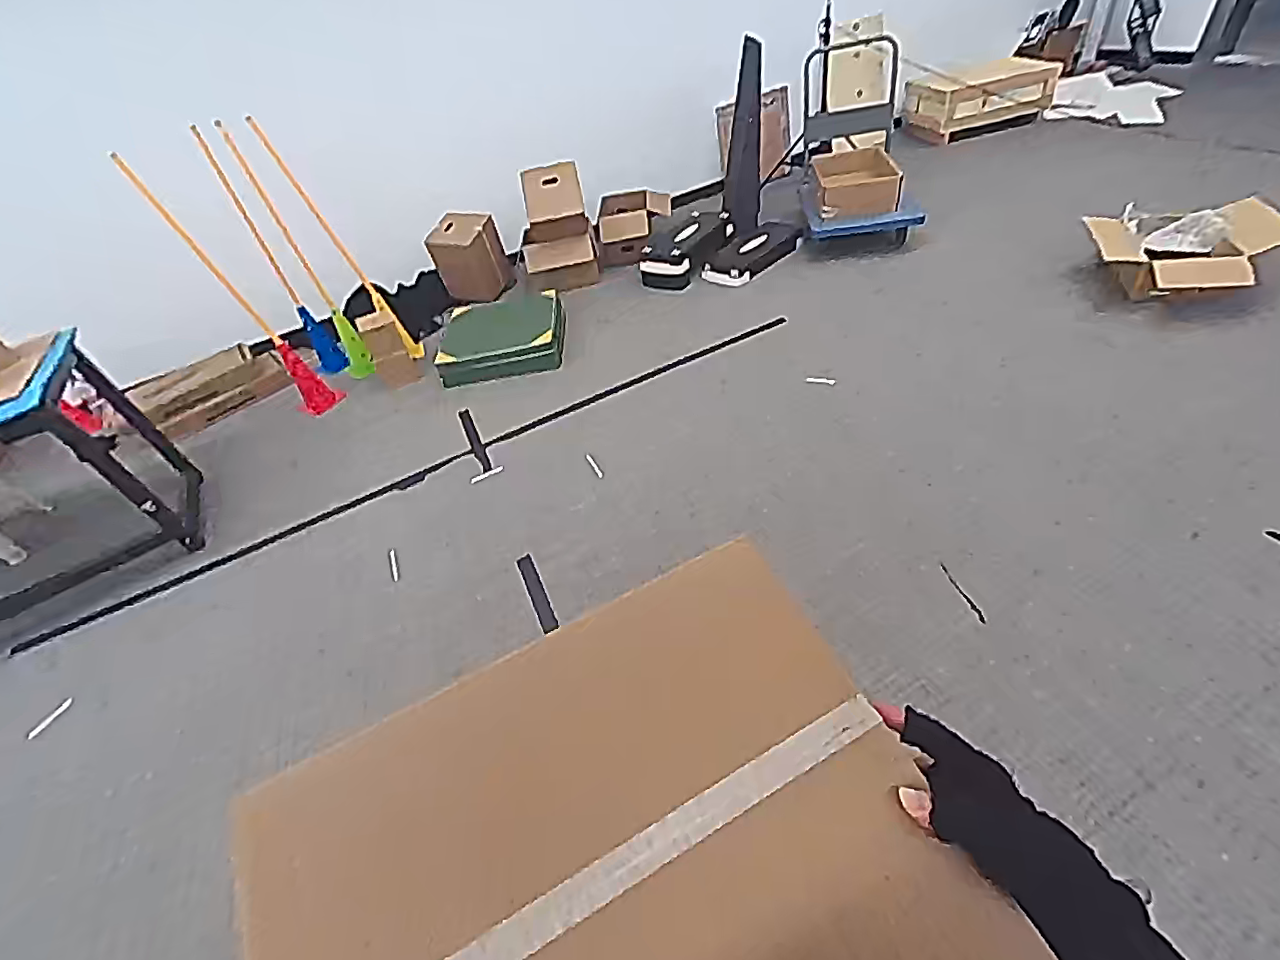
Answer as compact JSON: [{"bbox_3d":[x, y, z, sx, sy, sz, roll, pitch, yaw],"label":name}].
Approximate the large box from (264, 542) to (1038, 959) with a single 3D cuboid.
[{"bbox_3d":[-0.008,0.327,0.461,0.408,0.320,0.320,-25,59,-13],"label":"large box"}]
